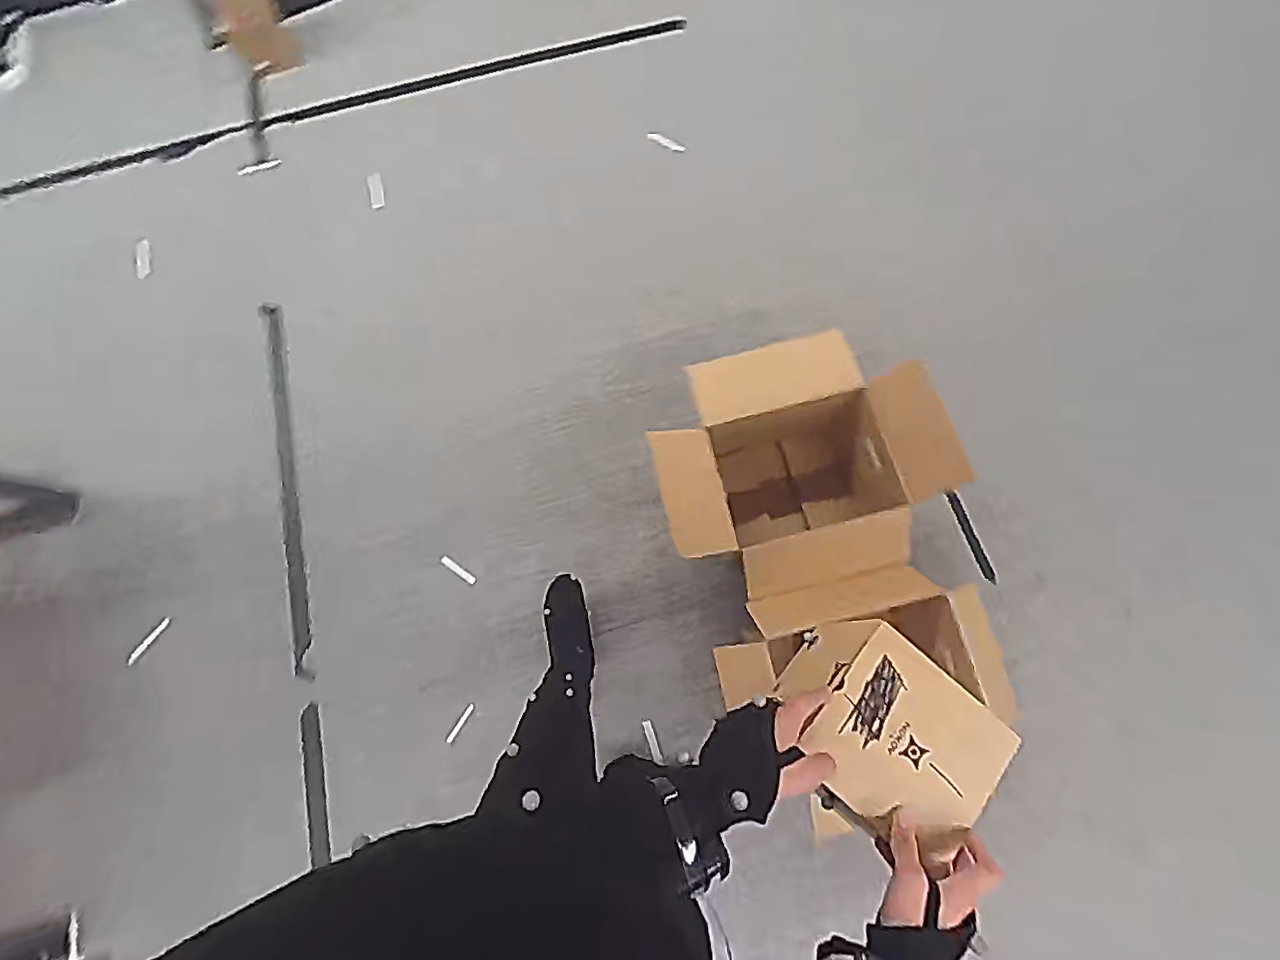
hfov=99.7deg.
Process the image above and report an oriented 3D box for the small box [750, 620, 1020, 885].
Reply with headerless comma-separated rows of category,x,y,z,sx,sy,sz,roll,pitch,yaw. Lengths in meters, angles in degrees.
small box,0.248,0.276,0.592,0.179,0.176,0.168,42,75,7
